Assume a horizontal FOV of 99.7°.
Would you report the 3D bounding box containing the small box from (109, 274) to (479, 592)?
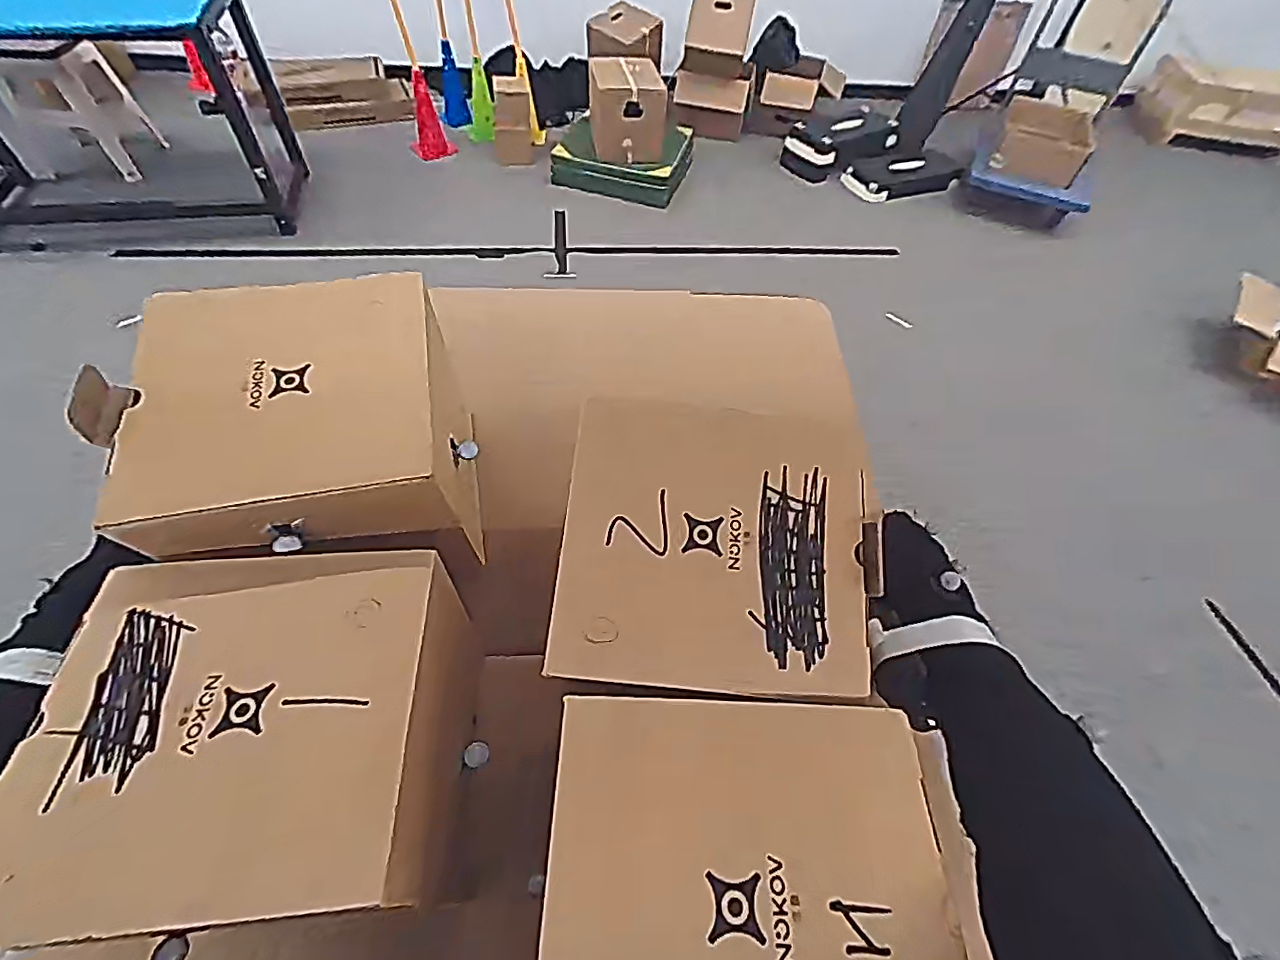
[{"bbox_3d":[-0.226,-0.027,0.412,0.179,0.176,0.168,-10,64,-8],"label":"small box"}]
